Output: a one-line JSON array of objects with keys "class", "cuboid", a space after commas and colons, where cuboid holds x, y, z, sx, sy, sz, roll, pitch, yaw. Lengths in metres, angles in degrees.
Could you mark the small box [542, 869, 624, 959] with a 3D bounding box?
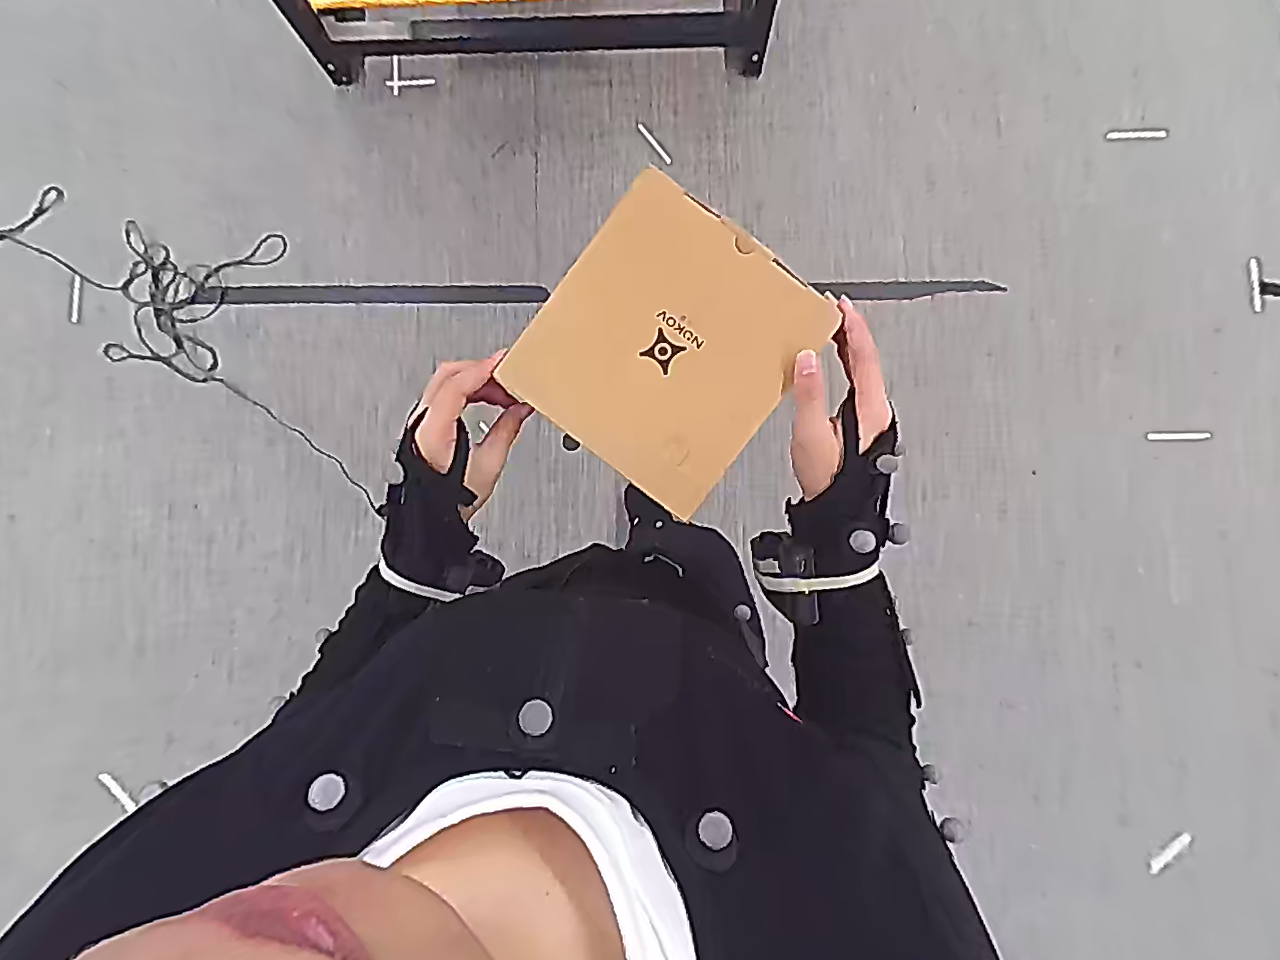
[{"class": "small box", "cuboid": [-0.130, 1.046, 1.251, 0.168, 0.176, 0.179, 7, 87, 2]}]
